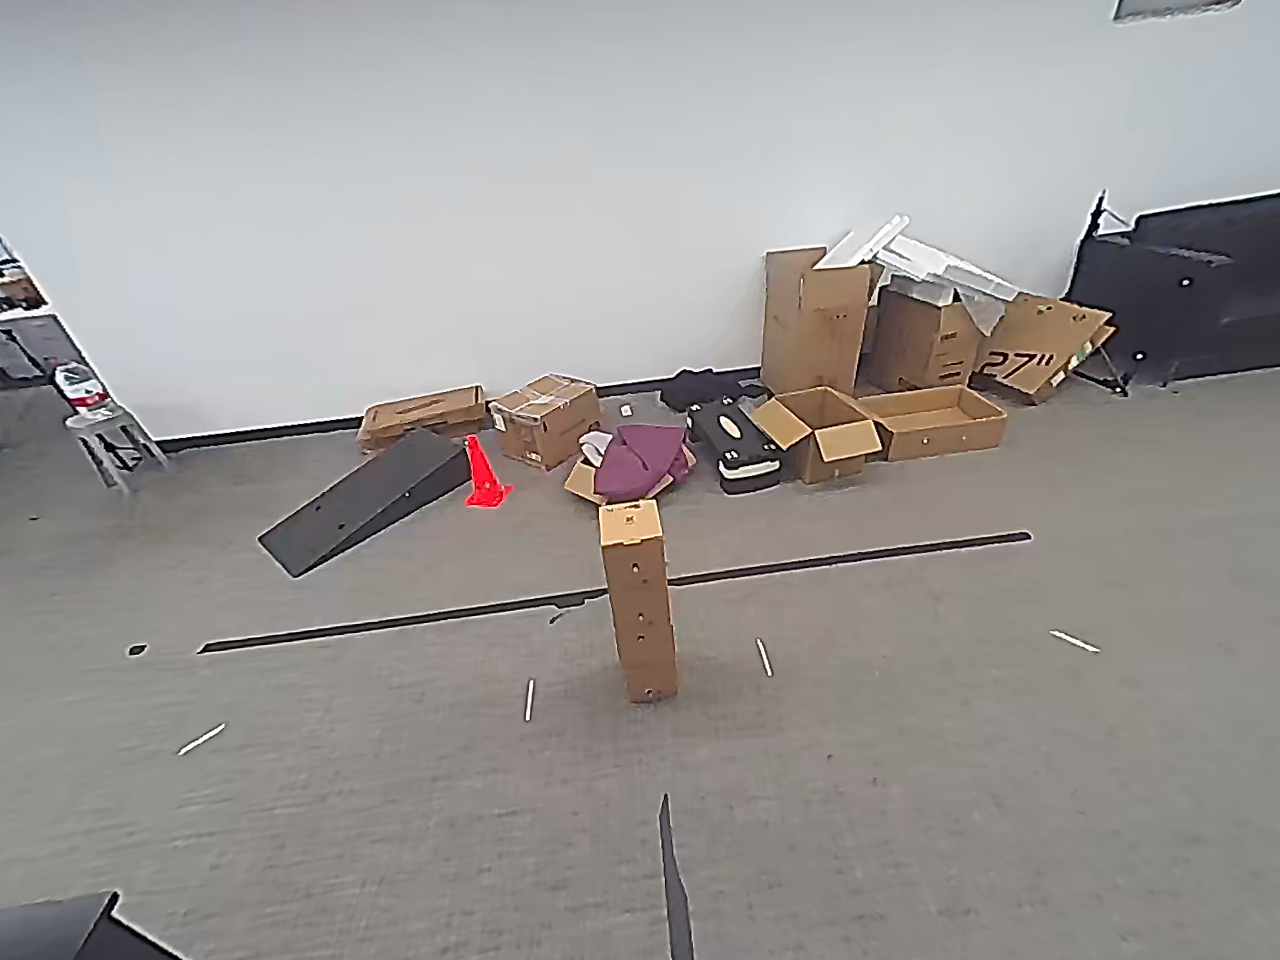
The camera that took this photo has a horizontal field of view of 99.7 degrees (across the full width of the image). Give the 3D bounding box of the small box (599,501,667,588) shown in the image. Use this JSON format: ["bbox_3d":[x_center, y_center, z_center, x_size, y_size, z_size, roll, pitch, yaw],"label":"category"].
[{"bbox_3d":[-0.020,0.184,1.507,0.168,0.176,0.179,-8,34,-1],"label":"small box"}]

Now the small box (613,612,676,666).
[{"bbox_3d":[0.012,0.458,1.685,0.179,0.176,0.168,-8,33,-2],"label":"small box"}]

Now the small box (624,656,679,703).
[{"bbox_3d":[0.028,0.595,1.774,0.168,0.176,0.179,-11,34,-5],"label":"small box"}]

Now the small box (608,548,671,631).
[{"bbox_3d":[-0.001,0.319,1.598,0.168,0.176,0.179,-7,33,1],"label":"small box"}]
